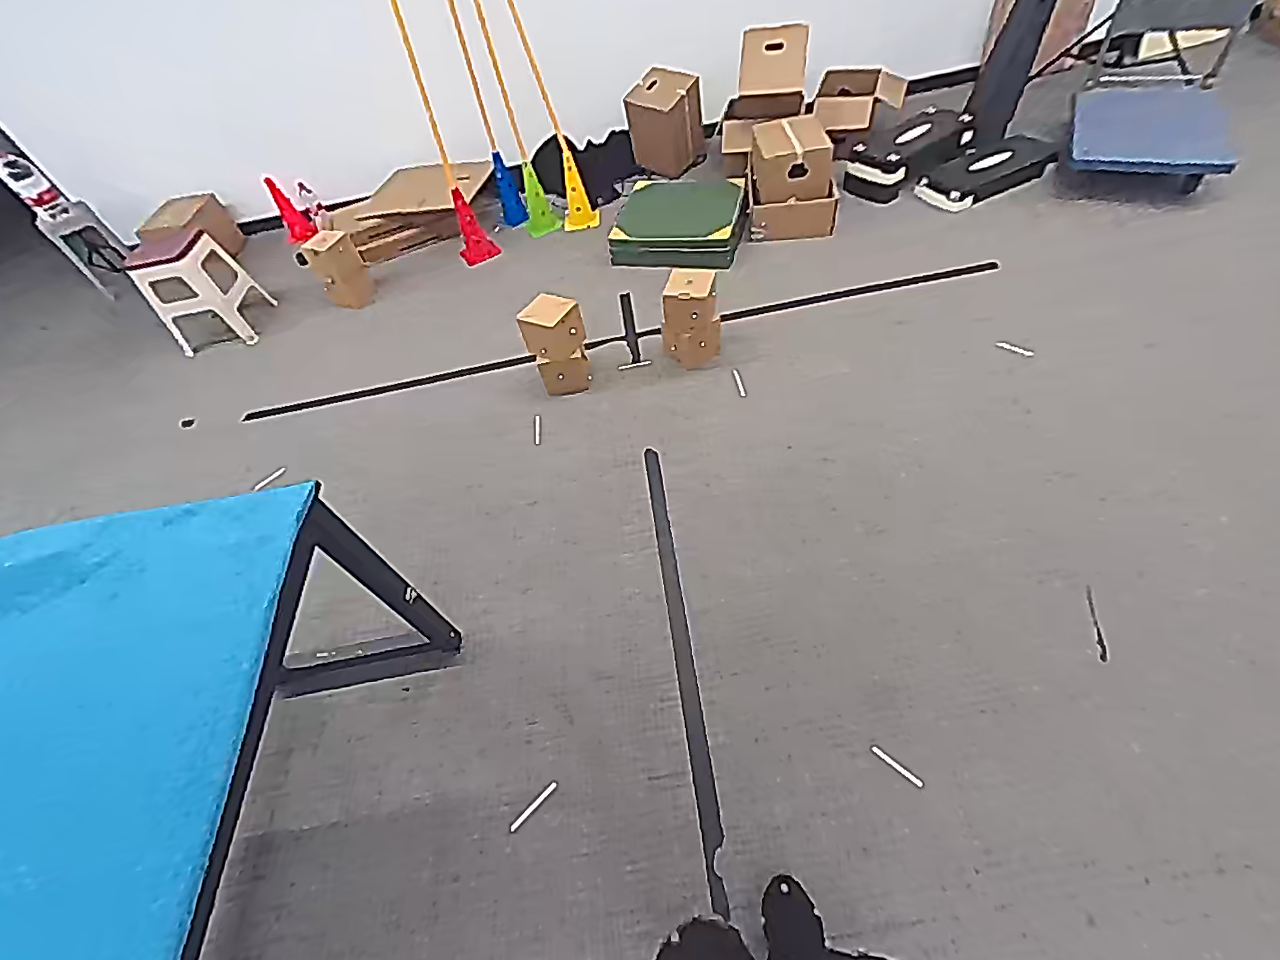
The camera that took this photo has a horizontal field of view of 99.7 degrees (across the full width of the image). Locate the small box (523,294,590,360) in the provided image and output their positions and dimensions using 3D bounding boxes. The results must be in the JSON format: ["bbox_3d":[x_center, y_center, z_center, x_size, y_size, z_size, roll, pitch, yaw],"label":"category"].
[{"bbox_3d":[-0.318,-0.587,2.063,0.179,0.176,0.168,18,57,21],"label":"small box"}]

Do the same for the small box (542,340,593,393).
[{"bbox_3d":[-0.288,-0.477,2.186,0.179,0.176,0.168,-10,51,5],"label":"small box"}]

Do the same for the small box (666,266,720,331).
[{"bbox_3d":[0.206,-0.685,2.042,0.168,0.176,0.179,9,55,15],"label":"small box"}]

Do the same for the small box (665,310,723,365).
[{"bbox_3d":[0.224,-0.594,2.180,0.179,0.176,0.168,-37,55,-18],"label":"small box"}]
